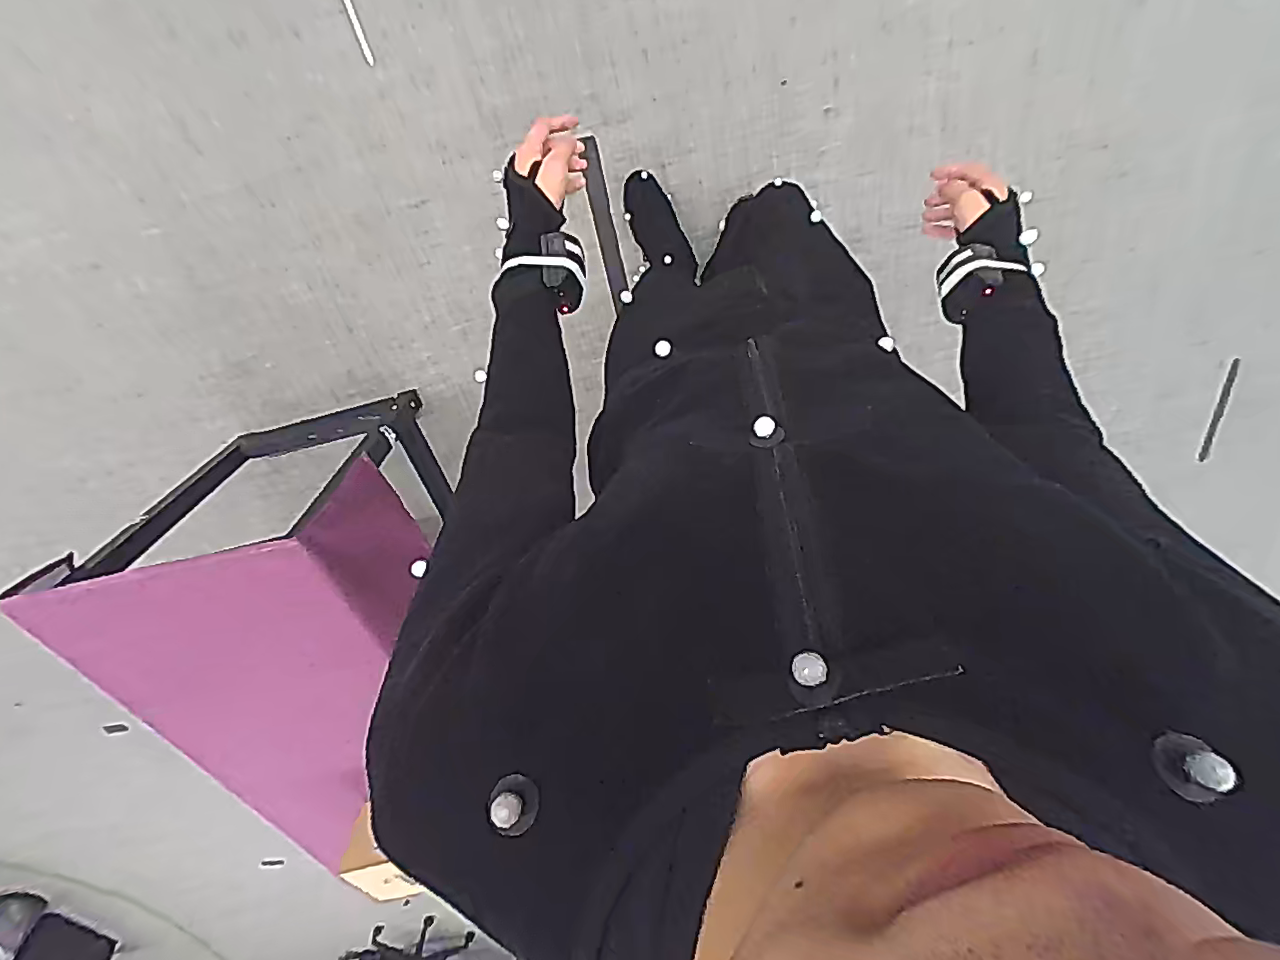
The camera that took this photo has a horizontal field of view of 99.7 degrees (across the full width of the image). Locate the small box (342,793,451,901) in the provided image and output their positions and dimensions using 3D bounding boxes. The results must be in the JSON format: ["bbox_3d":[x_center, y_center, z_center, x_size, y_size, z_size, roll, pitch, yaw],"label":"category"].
[{"bbox_3d":[-0.605,0.929,1.377,0.179,0.176,0.168,-21,121,10],"label":"small box"}]
